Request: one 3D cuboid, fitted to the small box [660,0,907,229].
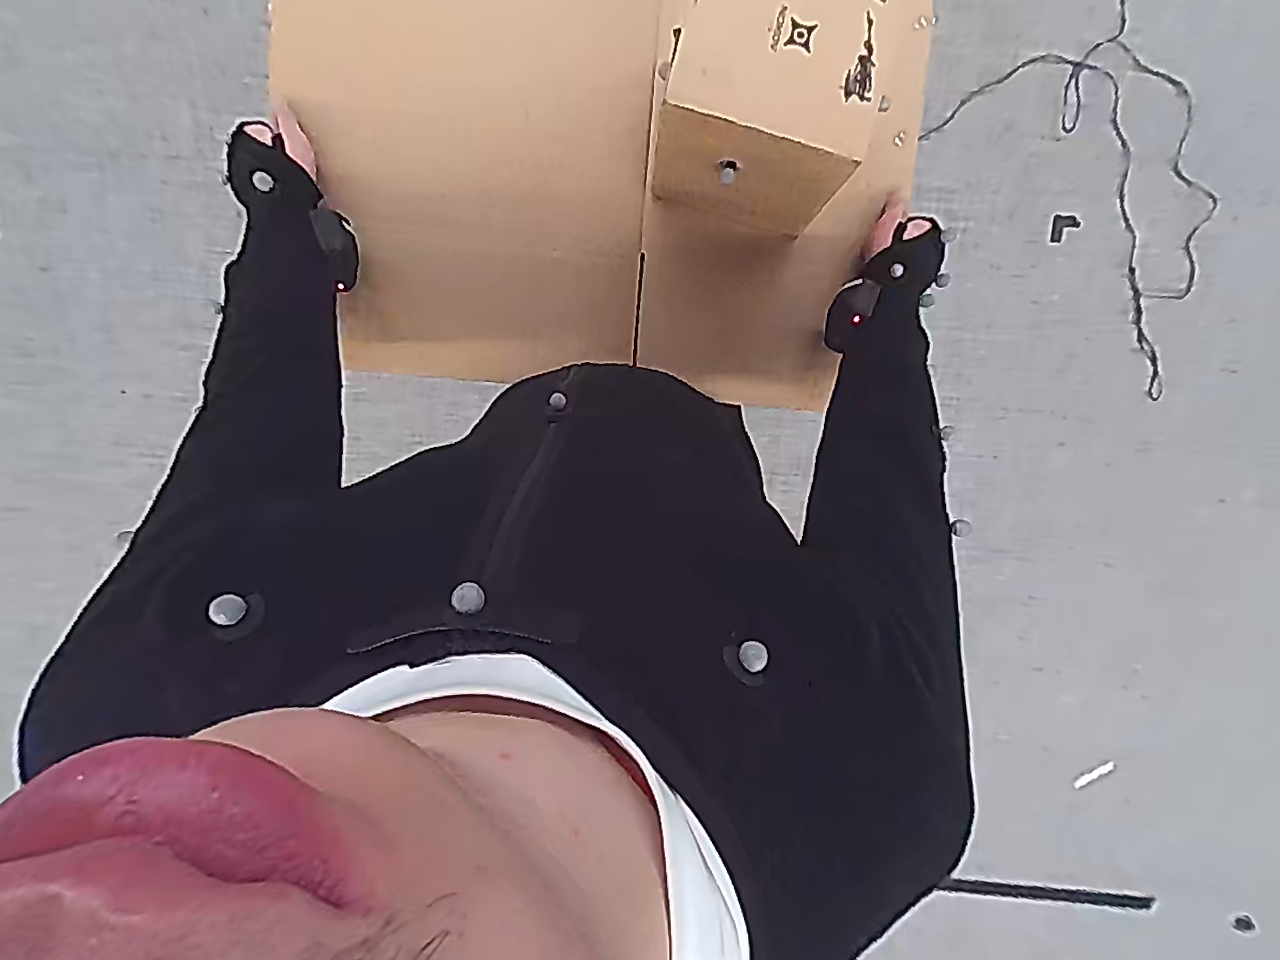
[{"bbox_3d":[0.122,-0.372,0.528,0.179,0.176,0.168,15,94,-2],"label":"small box"}]
